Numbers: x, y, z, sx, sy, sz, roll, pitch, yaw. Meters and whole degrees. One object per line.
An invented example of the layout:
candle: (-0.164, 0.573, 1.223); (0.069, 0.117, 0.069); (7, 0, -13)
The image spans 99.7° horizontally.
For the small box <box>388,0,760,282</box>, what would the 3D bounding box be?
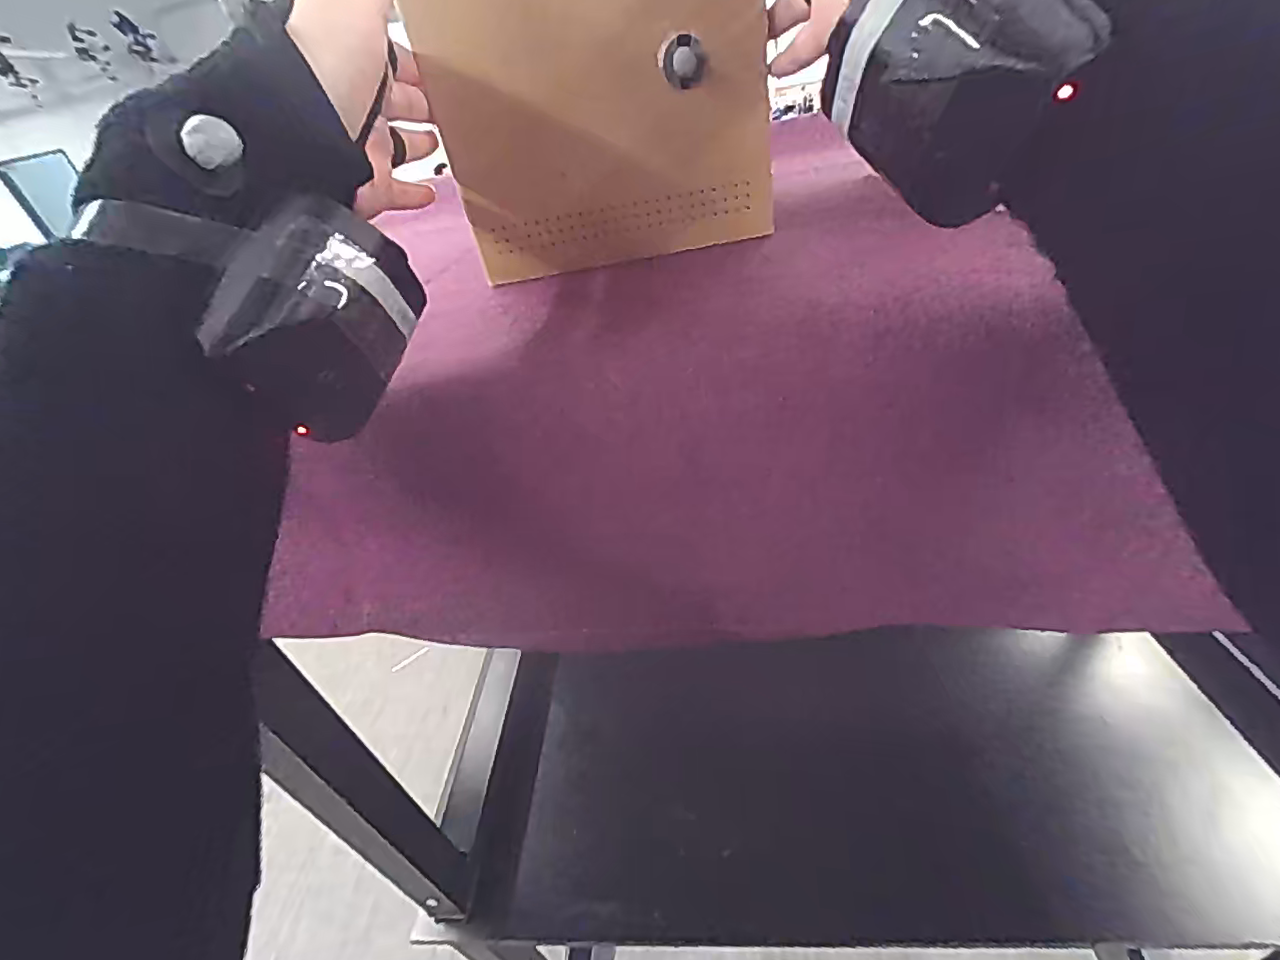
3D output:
small box: (-0.026, -0.240, 0.334); (0.179, 0.176, 0.168); (-10, 35, 3)

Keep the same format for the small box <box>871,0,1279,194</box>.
small box: (0.243, -0.267, 0.295); (0.168, 0.176, 0.179); (-9, 34, 3)
